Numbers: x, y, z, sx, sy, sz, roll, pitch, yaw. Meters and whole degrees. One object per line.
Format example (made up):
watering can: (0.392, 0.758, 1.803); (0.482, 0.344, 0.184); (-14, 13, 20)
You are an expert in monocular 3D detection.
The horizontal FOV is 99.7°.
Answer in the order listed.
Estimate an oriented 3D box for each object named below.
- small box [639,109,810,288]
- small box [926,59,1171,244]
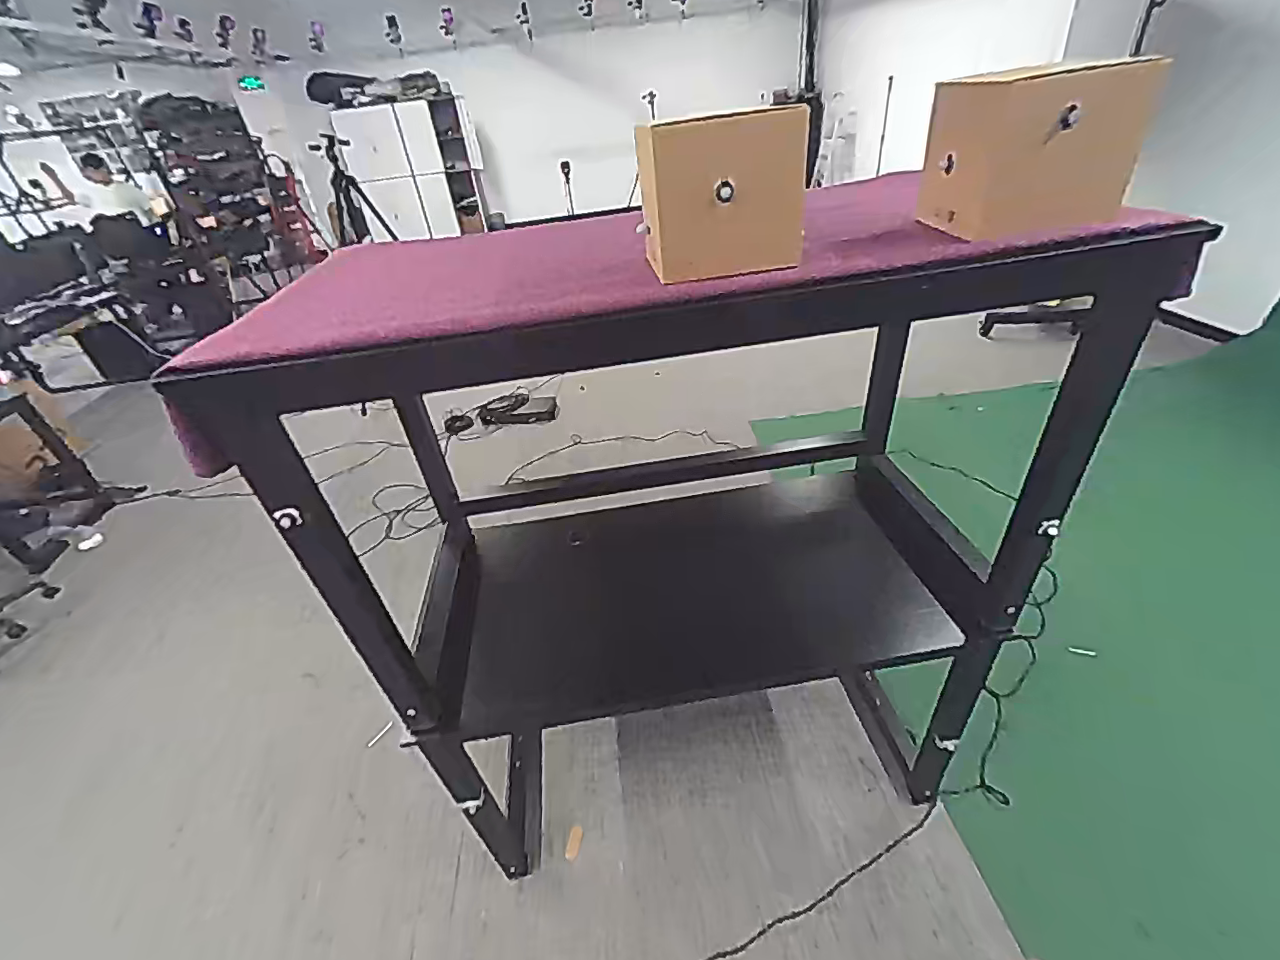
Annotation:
small box: (0.099, -0.357, 0.685); (0.179, 0.176, 0.168); (-9, 34, 0)
small box: (0.485, -0.410, 0.683); (0.179, 0.176, 0.168); (-7, 36, 3)
